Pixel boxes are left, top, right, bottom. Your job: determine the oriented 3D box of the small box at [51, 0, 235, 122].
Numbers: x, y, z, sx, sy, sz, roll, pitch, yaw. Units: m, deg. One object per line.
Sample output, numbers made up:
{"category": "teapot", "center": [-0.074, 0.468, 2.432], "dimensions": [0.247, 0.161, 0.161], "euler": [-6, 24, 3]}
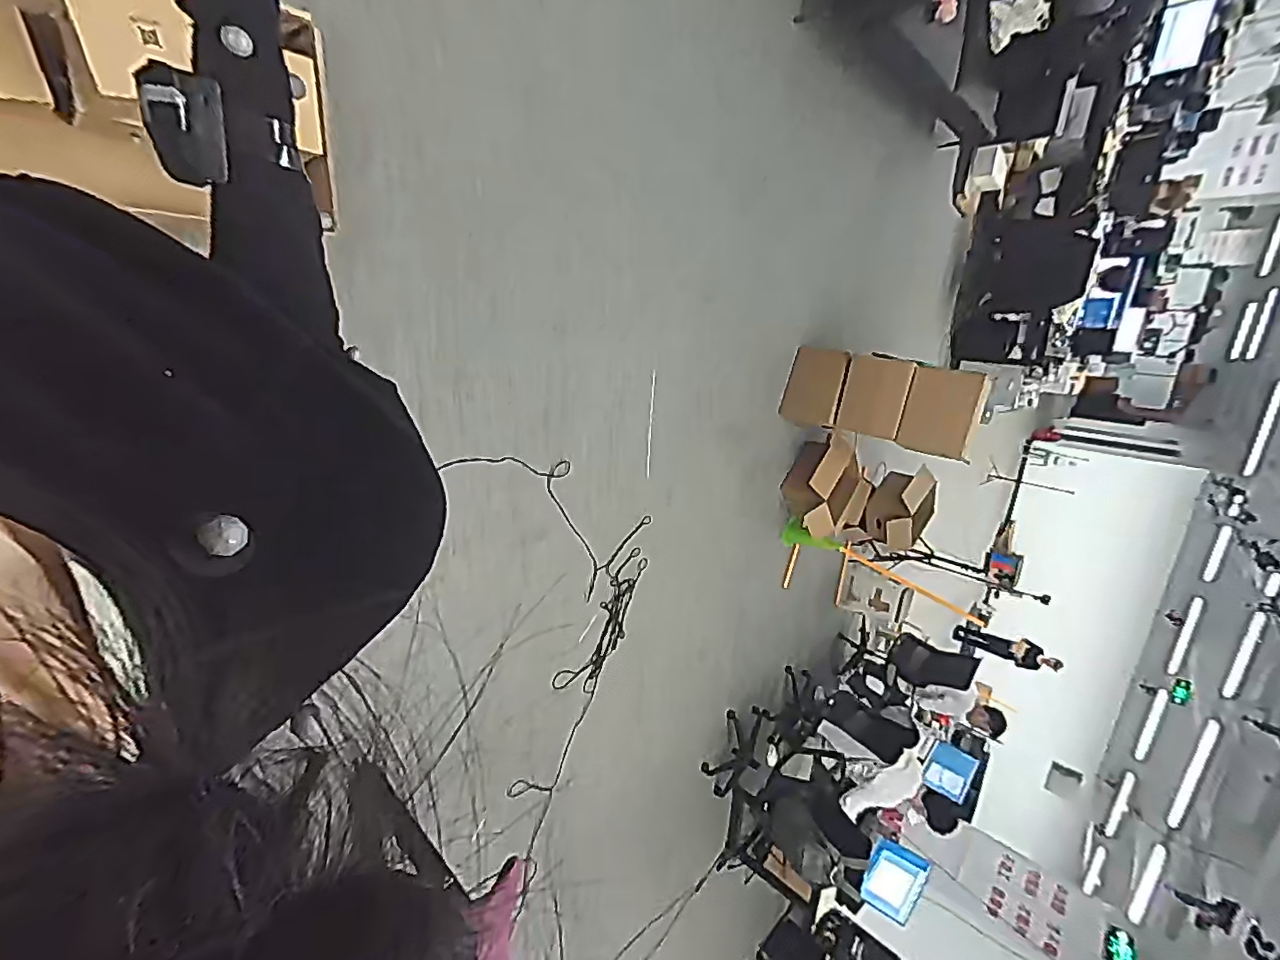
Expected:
{"category": "small box", "center": [-0.761, -0.673, 0.825], "dimensions": [0.168, 0.176, 0.179], "euler": [-24, 121, -40]}
